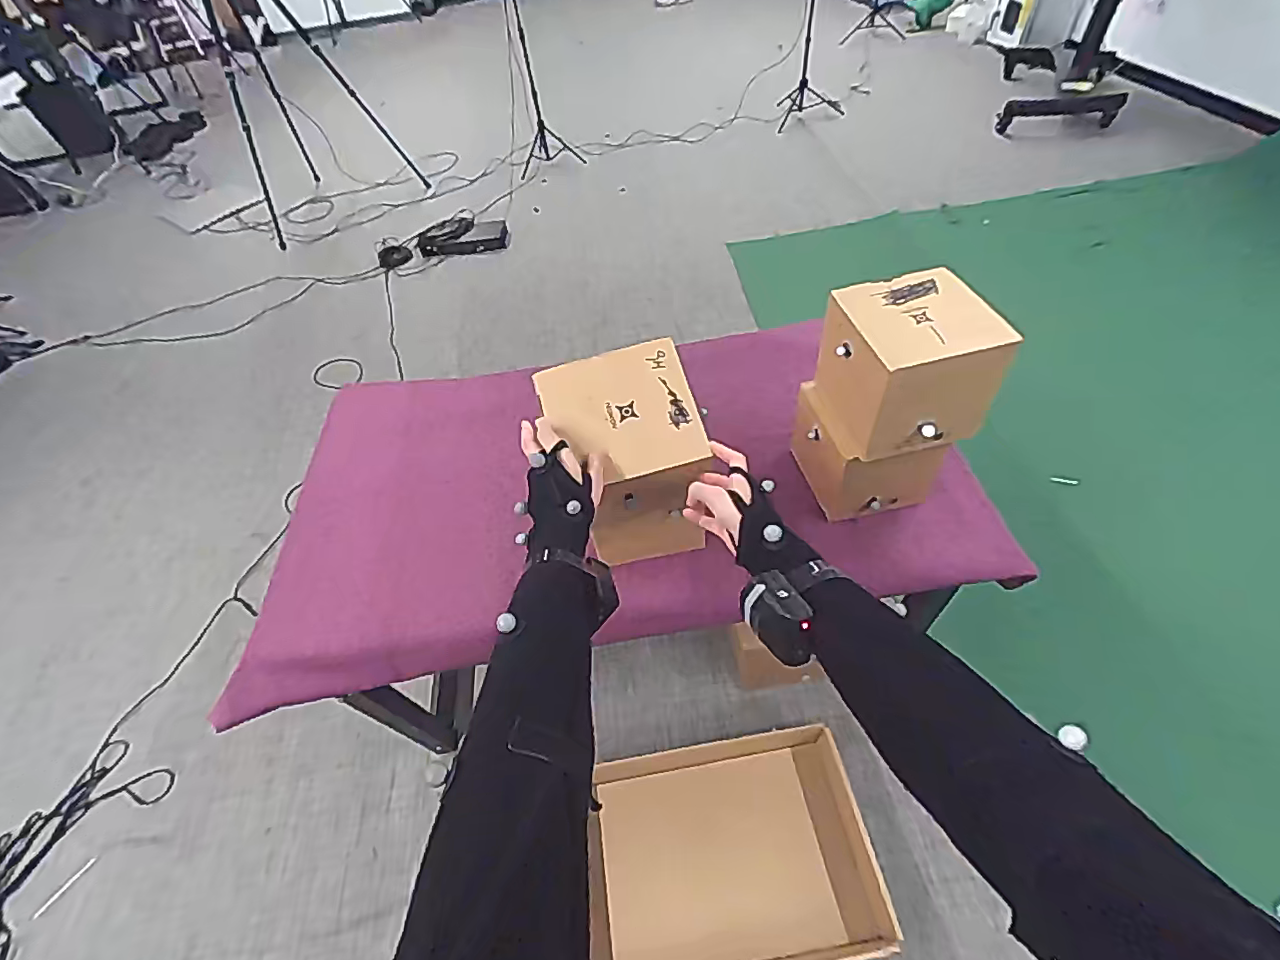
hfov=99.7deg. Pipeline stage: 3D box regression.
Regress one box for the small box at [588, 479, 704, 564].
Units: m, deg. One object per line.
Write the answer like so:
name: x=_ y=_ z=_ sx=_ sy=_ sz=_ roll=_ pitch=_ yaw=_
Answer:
small box: x=0.001 y=0.013 z=0.862 sx=0.179 sy=0.176 sz=0.168 roll=-11 pitch=50 yaw=0

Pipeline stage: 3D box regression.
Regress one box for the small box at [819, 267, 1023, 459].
small box: x=0.359 y=-0.157 z=0.737 sx=0.168 sy=0.176 sz=0.179 roll=-13 pitch=50 yaw=0

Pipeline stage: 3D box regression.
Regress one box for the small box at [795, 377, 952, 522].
small box: x=0.360 y=-0.060 z=0.871 sx=0.168 sy=0.176 sz=0.179 roll=-13 pitch=50 yaw=-1

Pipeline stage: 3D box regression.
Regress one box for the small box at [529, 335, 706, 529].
small box: x=-0.023 y=-0.050 z=0.690 sx=0.179 sy=0.176 sz=0.168 roll=-16 pitch=70 yaw=-2
